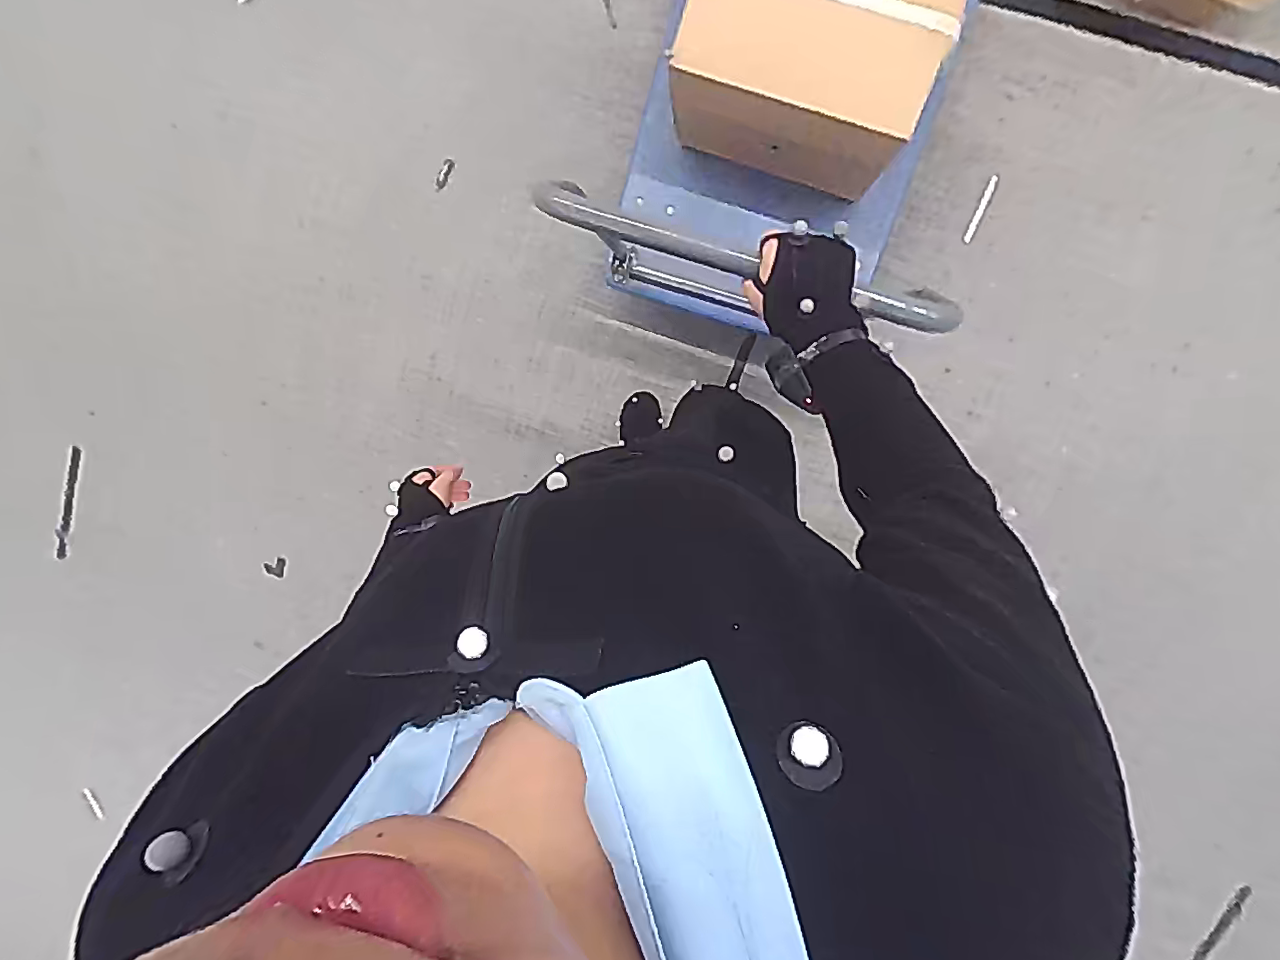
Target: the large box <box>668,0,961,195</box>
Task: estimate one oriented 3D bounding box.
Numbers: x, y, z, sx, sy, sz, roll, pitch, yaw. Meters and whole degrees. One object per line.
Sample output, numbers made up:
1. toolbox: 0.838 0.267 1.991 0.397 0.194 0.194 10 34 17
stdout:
1. large box: 0.299 -0.764 0.961 0.408 0.320 0.320 20 102 4
